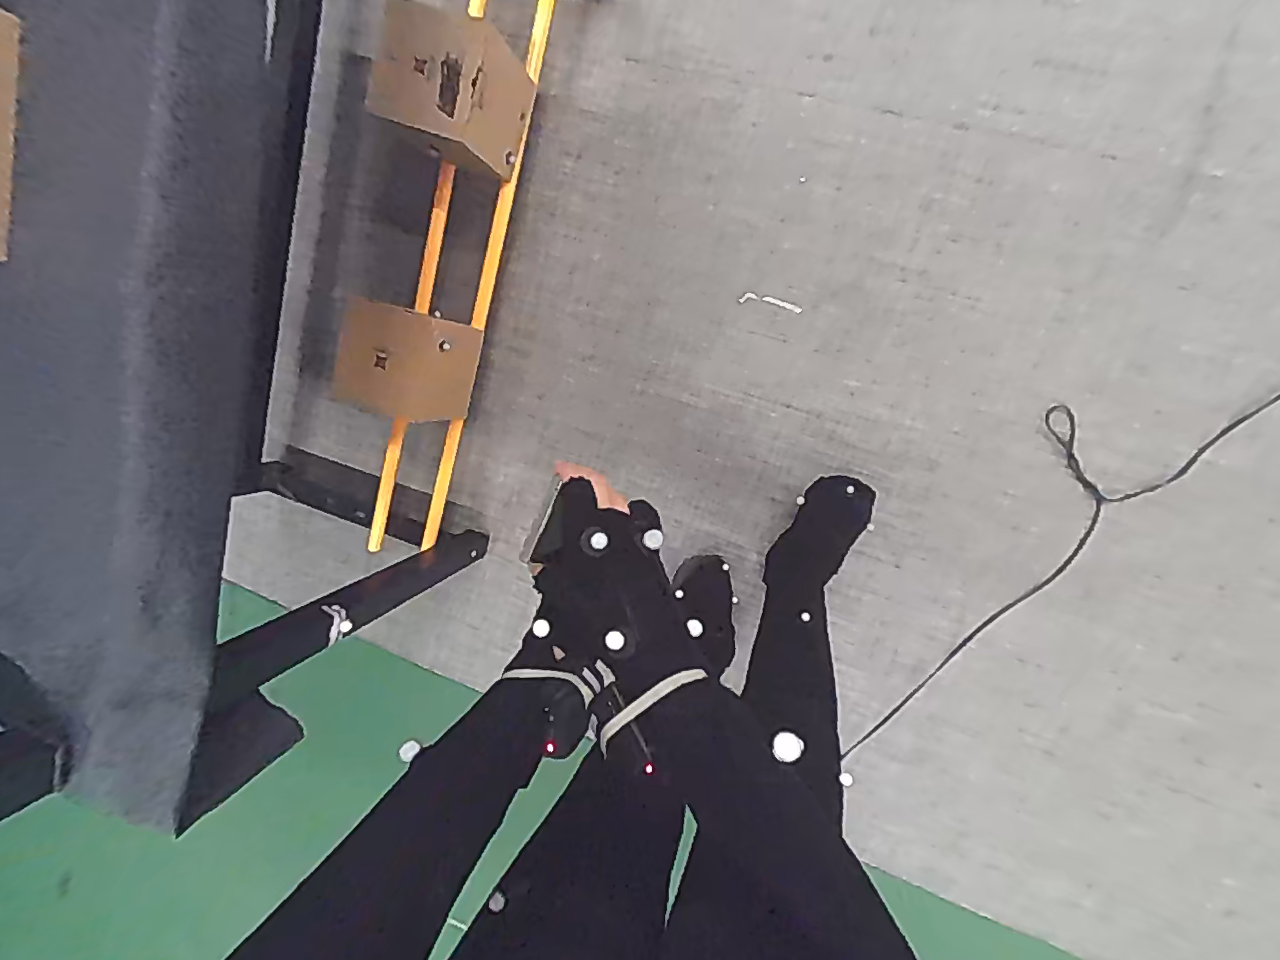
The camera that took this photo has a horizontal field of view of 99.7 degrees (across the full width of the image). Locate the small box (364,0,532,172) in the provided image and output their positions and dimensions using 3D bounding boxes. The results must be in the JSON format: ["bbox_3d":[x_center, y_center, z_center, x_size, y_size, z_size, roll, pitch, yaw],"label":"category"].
[{"bbox_3d":[-0.297,-0.624,0.867,0.179,0.176,0.168,22,103,9],"label":"small box"}]
